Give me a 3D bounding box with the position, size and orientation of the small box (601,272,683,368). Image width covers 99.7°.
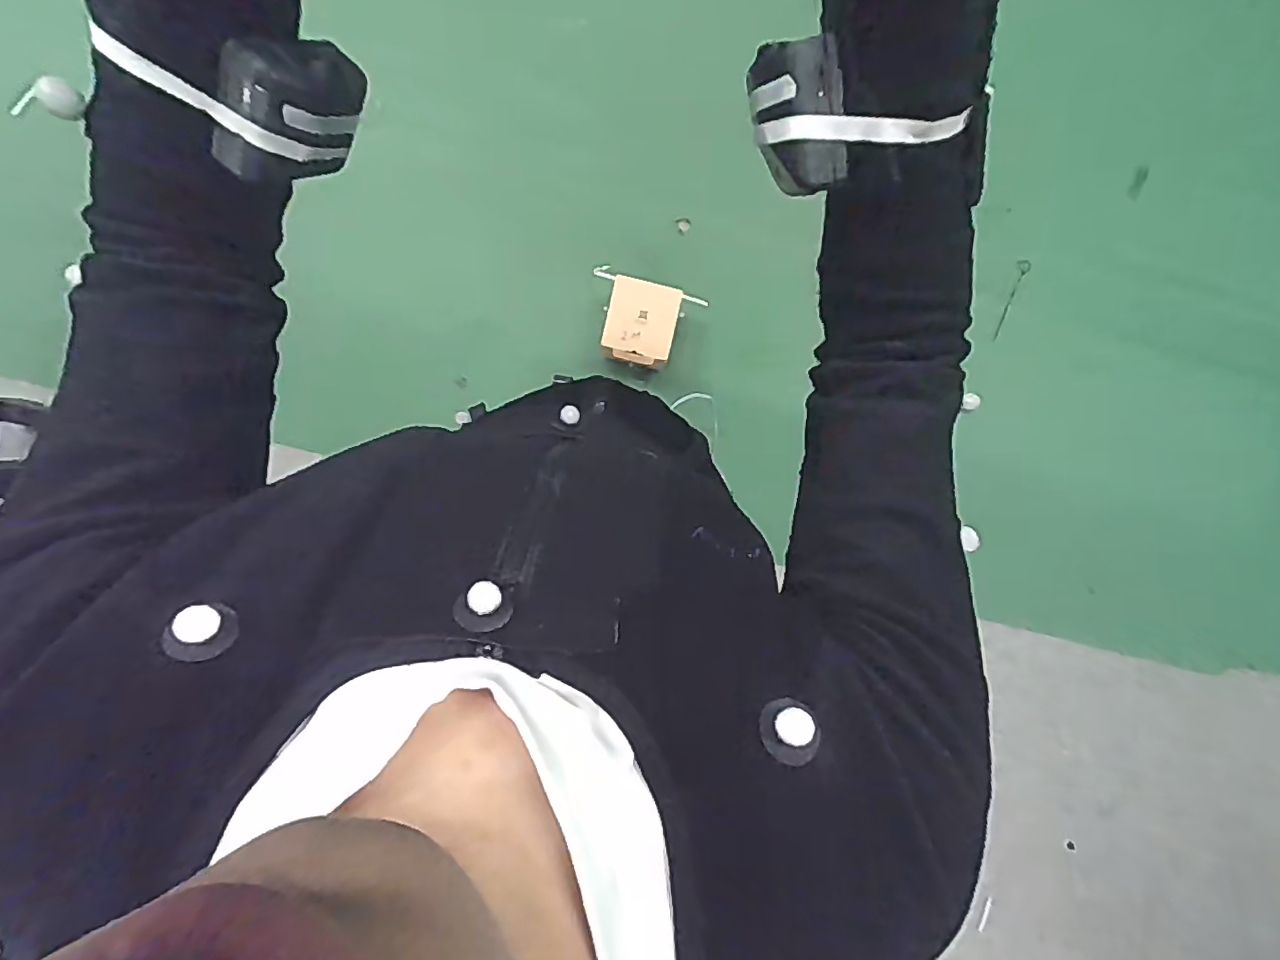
[{"bbox_3d":[-0.001,-0.395,1.366,0.168,0.176,0.179,13,94,-4],"label":"small box"}]
